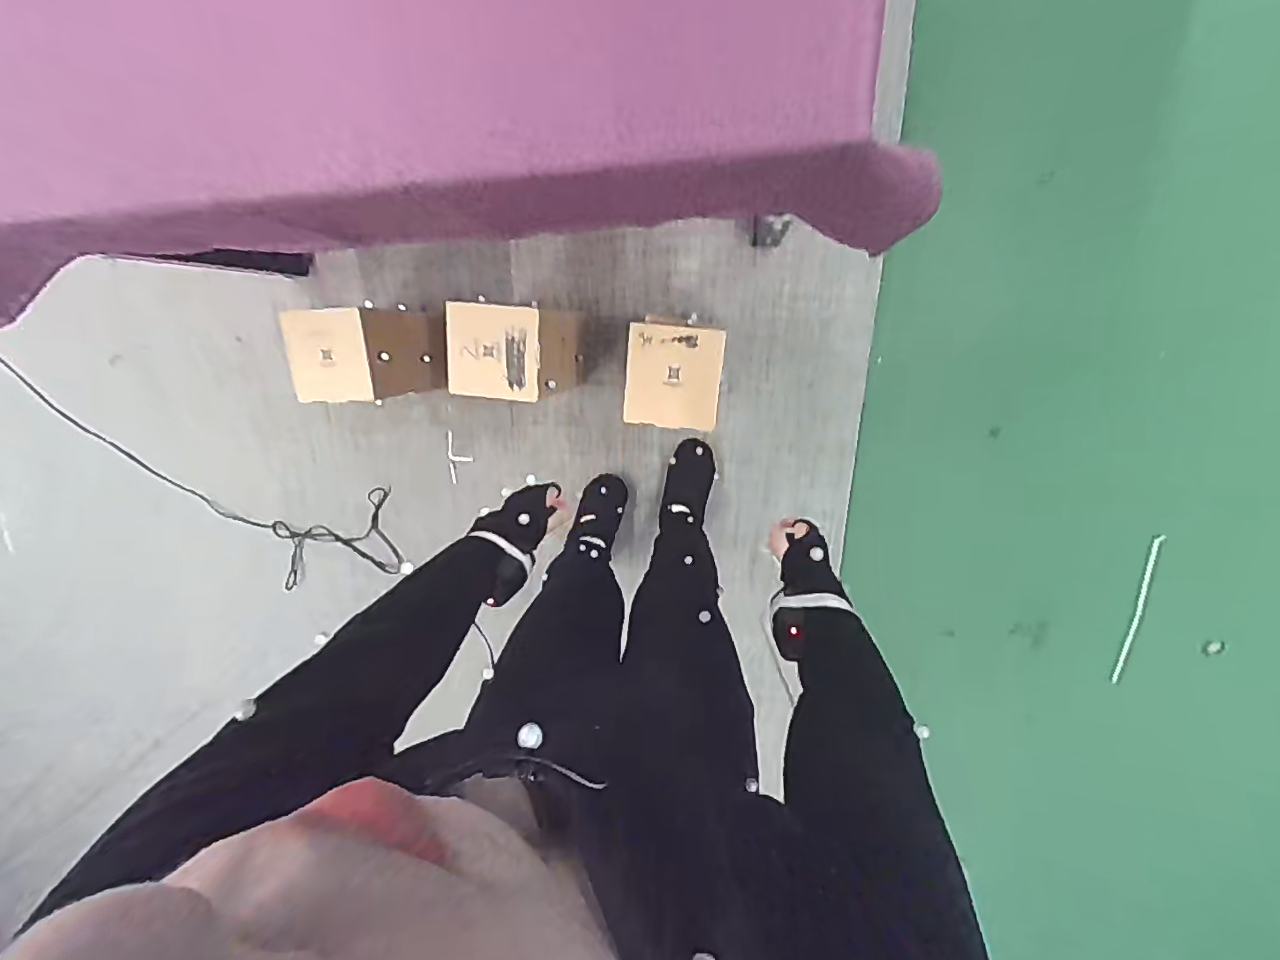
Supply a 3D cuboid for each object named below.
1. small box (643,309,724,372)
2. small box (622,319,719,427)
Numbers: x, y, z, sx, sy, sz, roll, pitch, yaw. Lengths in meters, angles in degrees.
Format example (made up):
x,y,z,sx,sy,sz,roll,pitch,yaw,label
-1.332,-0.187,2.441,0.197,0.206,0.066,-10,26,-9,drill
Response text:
x,y,z,sx,sy,sz,roll,pitch,yaw,label
0.086,-0.264,1.166,0.168,0.176,0.179,12,107,5,small box
0.058,-0.205,1.011,0.168,0.176,0.179,2,109,4,small box
